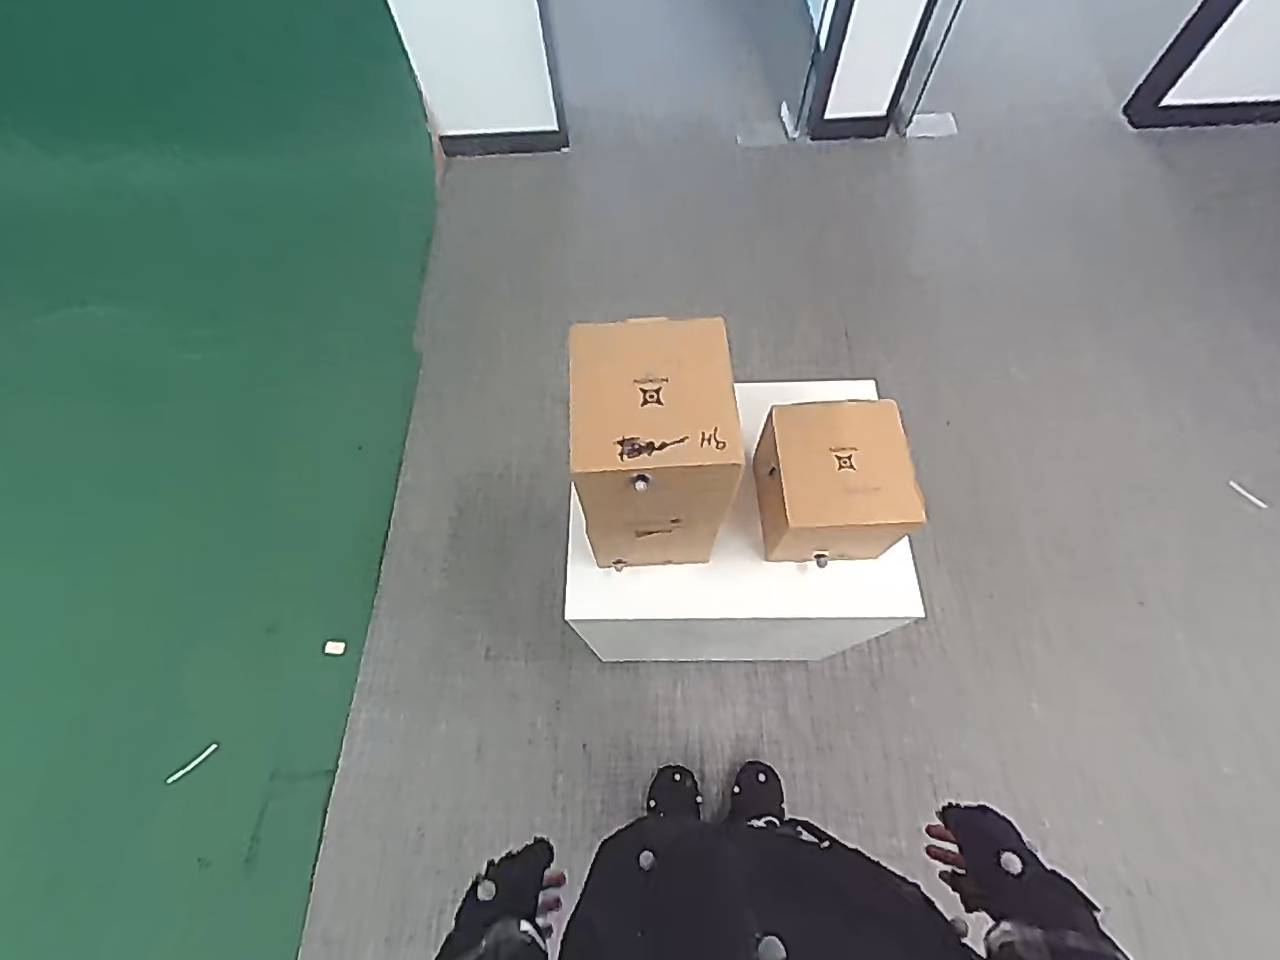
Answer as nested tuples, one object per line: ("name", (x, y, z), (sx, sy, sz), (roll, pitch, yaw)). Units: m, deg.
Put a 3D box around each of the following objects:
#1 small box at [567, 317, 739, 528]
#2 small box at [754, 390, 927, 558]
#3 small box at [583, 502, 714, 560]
("small box", (0.011, -0.058, 0.615), (0.168, 0.176, 0.179), (-4, 65, 1))
("small box", (0.257, -0.002, 0.743), (0.168, 0.176, 0.179), (-4, 68, 2))
("small box", (0.012, 0.009, 0.763), (0.168, 0.176, 0.179), (-3, 65, 0))
